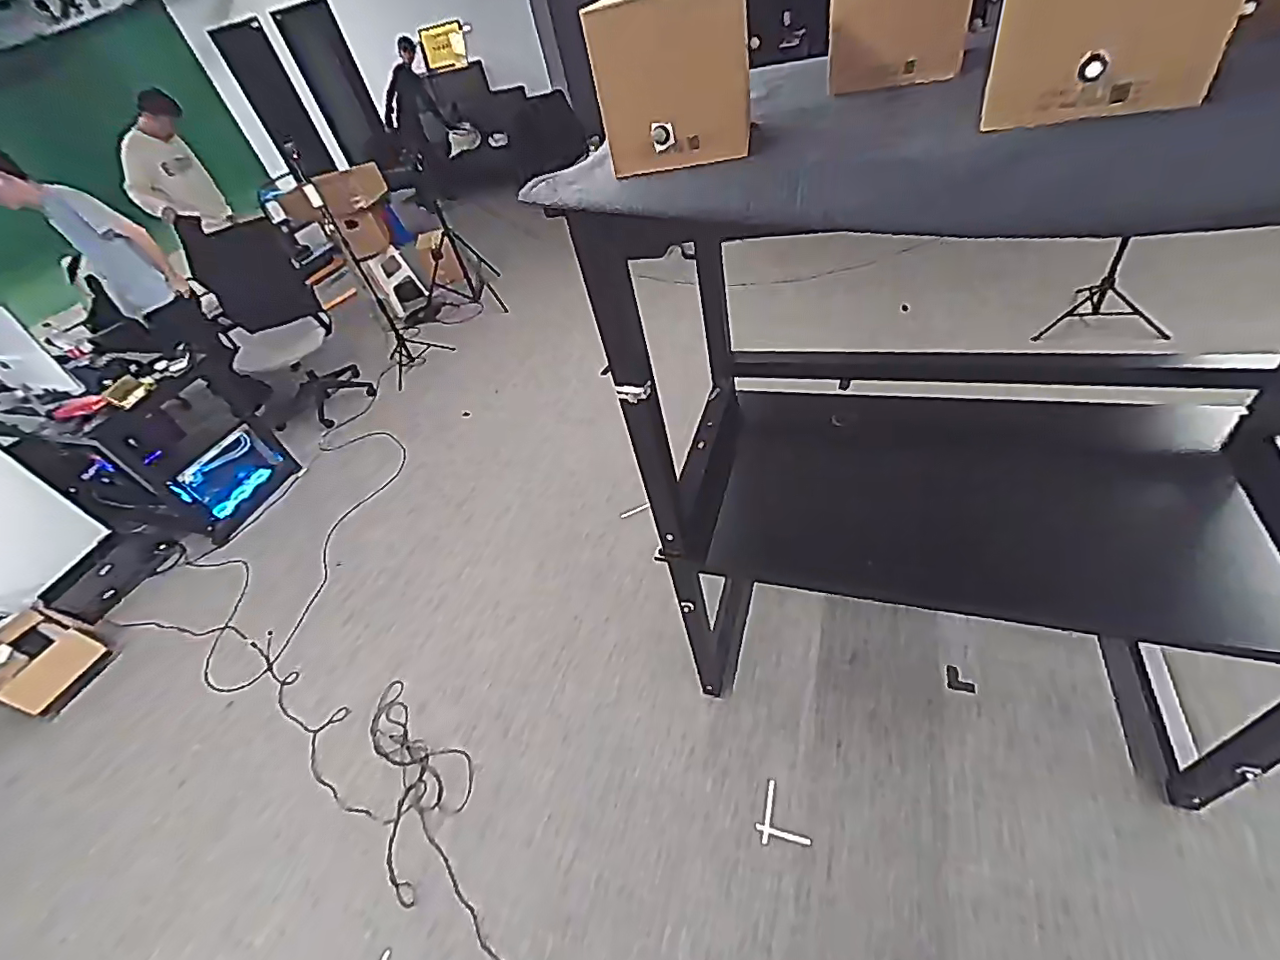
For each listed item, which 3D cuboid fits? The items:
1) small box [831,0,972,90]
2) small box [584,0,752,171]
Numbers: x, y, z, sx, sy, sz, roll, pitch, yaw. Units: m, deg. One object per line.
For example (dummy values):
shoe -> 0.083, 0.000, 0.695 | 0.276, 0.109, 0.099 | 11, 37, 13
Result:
small box -> 0.358, -0.652, 0.731 | 0.168, 0.176, 0.179 | 9, 48, 25
small box -> 0.047, -0.502, 0.663 | 0.168, 0.176, 0.179 | -1, 45, 15
